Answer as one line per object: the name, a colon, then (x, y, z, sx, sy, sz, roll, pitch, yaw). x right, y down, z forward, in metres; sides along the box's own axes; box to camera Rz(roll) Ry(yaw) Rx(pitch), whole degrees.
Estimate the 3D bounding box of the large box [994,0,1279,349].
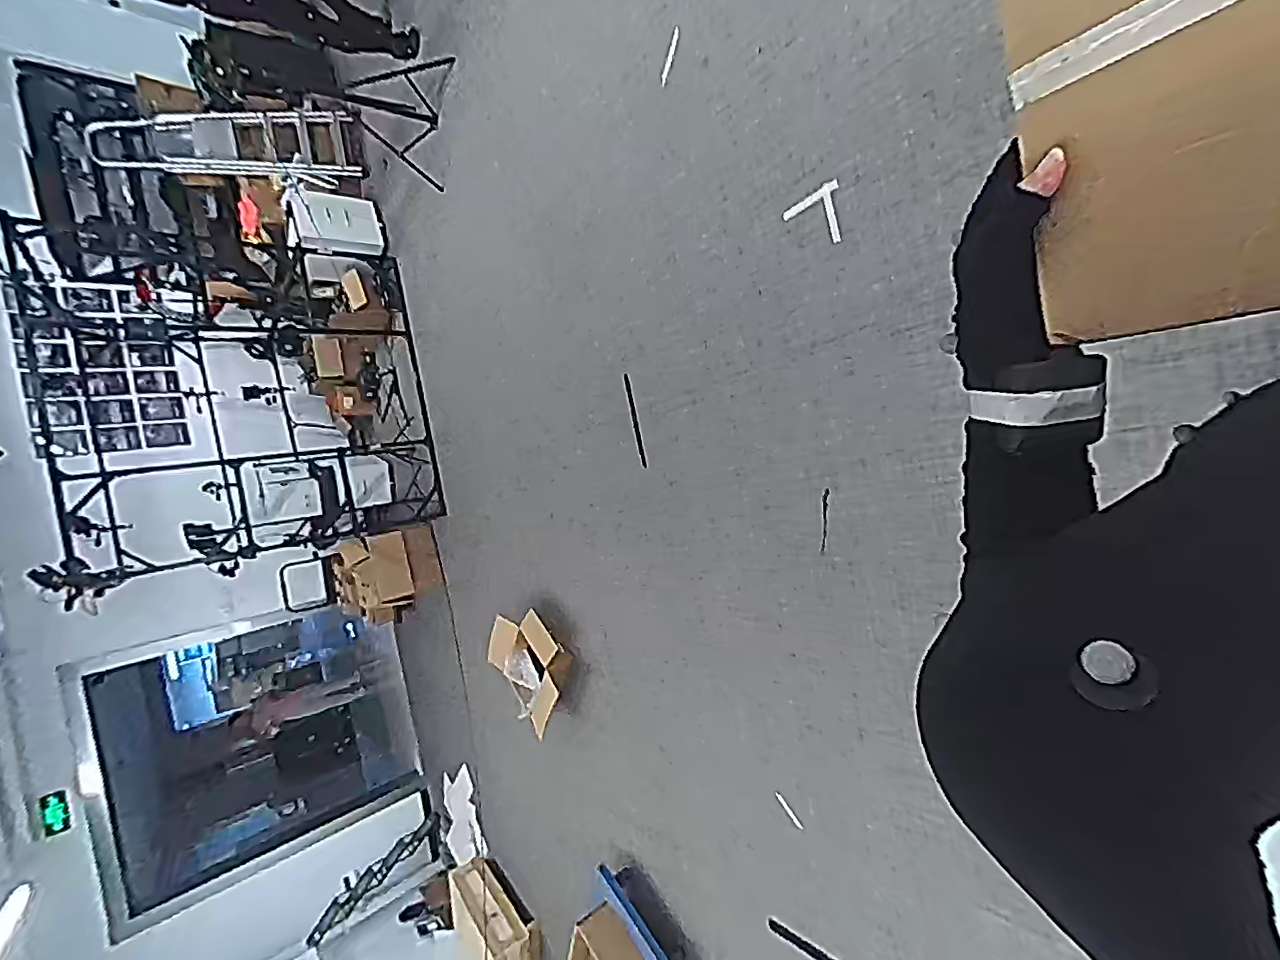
large box: (0.461, -0.284, 0.258, 0.408, 0.320, 0.320, -2, 106, 55)
